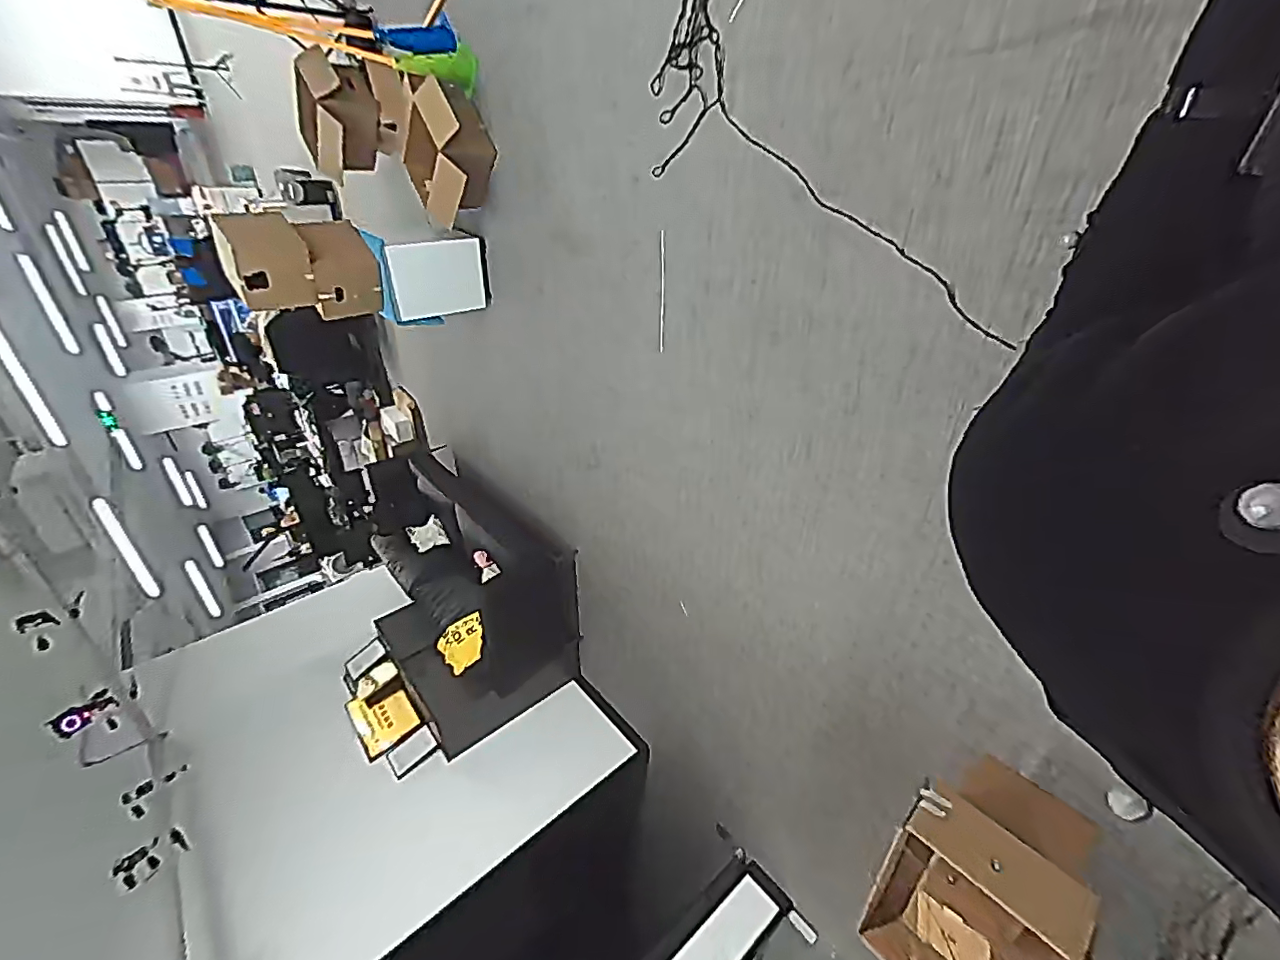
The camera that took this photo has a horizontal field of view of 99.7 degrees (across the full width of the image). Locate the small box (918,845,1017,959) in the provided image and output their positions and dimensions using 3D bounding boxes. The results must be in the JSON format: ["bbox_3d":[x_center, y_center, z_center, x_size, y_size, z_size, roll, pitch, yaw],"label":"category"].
[{"bbox_3d":[0.826,1.079,1.362,0.168,0.176,0.179,15,121,50],"label":"small box"}]
